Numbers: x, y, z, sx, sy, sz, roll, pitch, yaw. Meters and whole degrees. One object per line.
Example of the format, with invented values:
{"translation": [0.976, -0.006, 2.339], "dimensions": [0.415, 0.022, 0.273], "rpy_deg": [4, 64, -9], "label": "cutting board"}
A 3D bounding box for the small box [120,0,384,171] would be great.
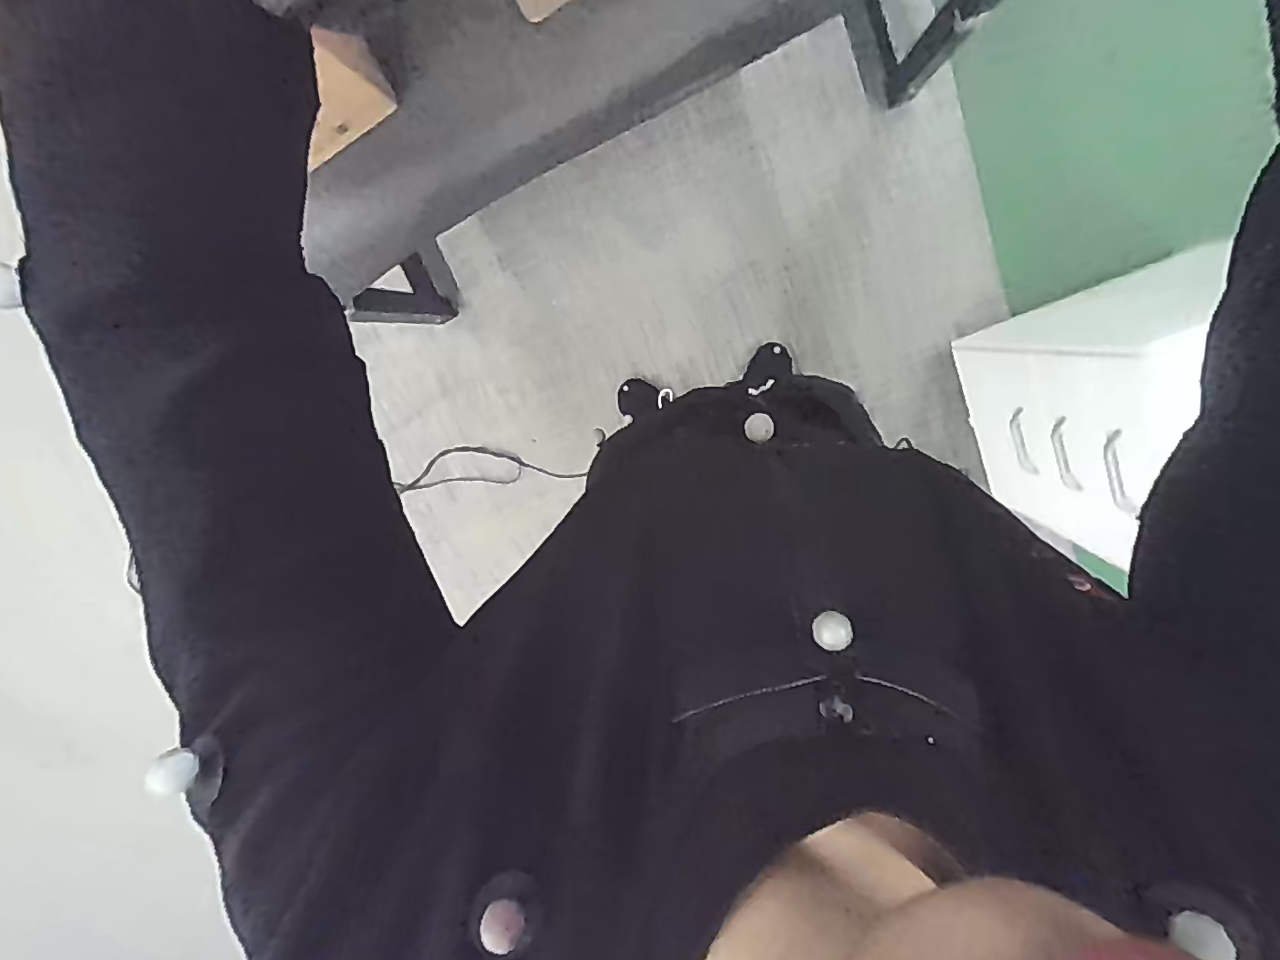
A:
{"translation": [-0.376, -0.412, 0.488], "dimensions": [0.168, 0.176, 0.179], "rpy_deg": [-26, 100, 12], "label": "small box"}
